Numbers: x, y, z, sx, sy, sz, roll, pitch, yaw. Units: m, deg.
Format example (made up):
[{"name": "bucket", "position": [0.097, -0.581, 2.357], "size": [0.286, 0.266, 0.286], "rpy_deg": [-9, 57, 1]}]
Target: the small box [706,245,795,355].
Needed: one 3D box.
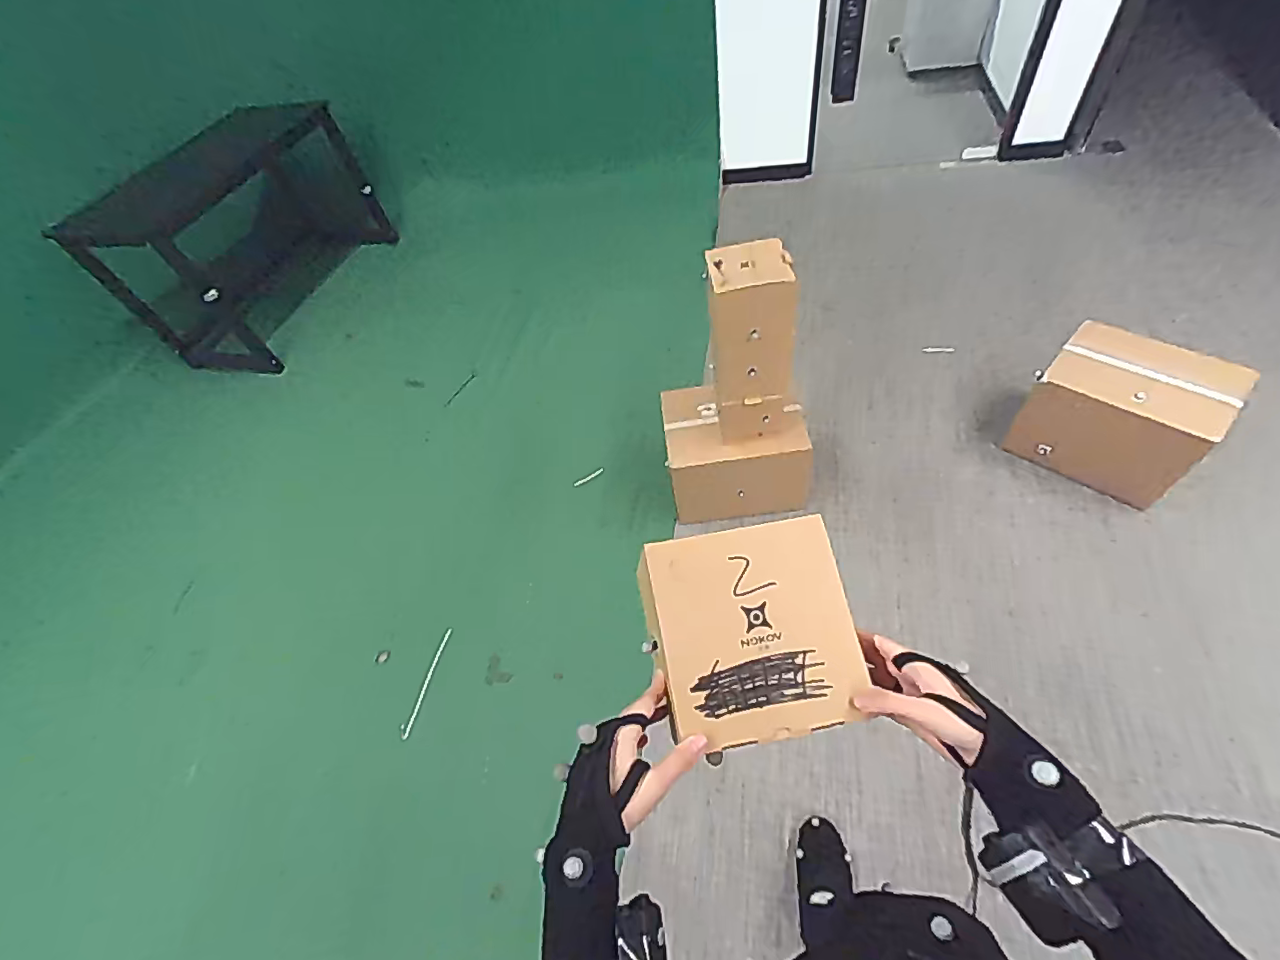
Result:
[{"name": "small box", "position": [0.250, -0.415, 1.259], "size": [0.179, 0.176, 0.168], "rpy_deg": [-7, 52, 4]}]

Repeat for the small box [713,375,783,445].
[{"name": "small box", "position": [0.301, -0.213, 1.512], "size": [0.168, 0.176, 0.179], "rpy_deg": [-8, 52, 5]}]

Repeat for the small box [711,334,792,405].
[{"name": "small box", "position": [0.278, -0.315, 1.386], "size": [0.179, 0.176, 0.168], "rpy_deg": [-9, 52, 5]}]

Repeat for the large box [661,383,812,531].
[{"name": "large box", "position": [0.298, -0.070, 1.715], "size": [0.408, 0.320, 0.320], "rpy_deg": [-9, 50, 6]}]
